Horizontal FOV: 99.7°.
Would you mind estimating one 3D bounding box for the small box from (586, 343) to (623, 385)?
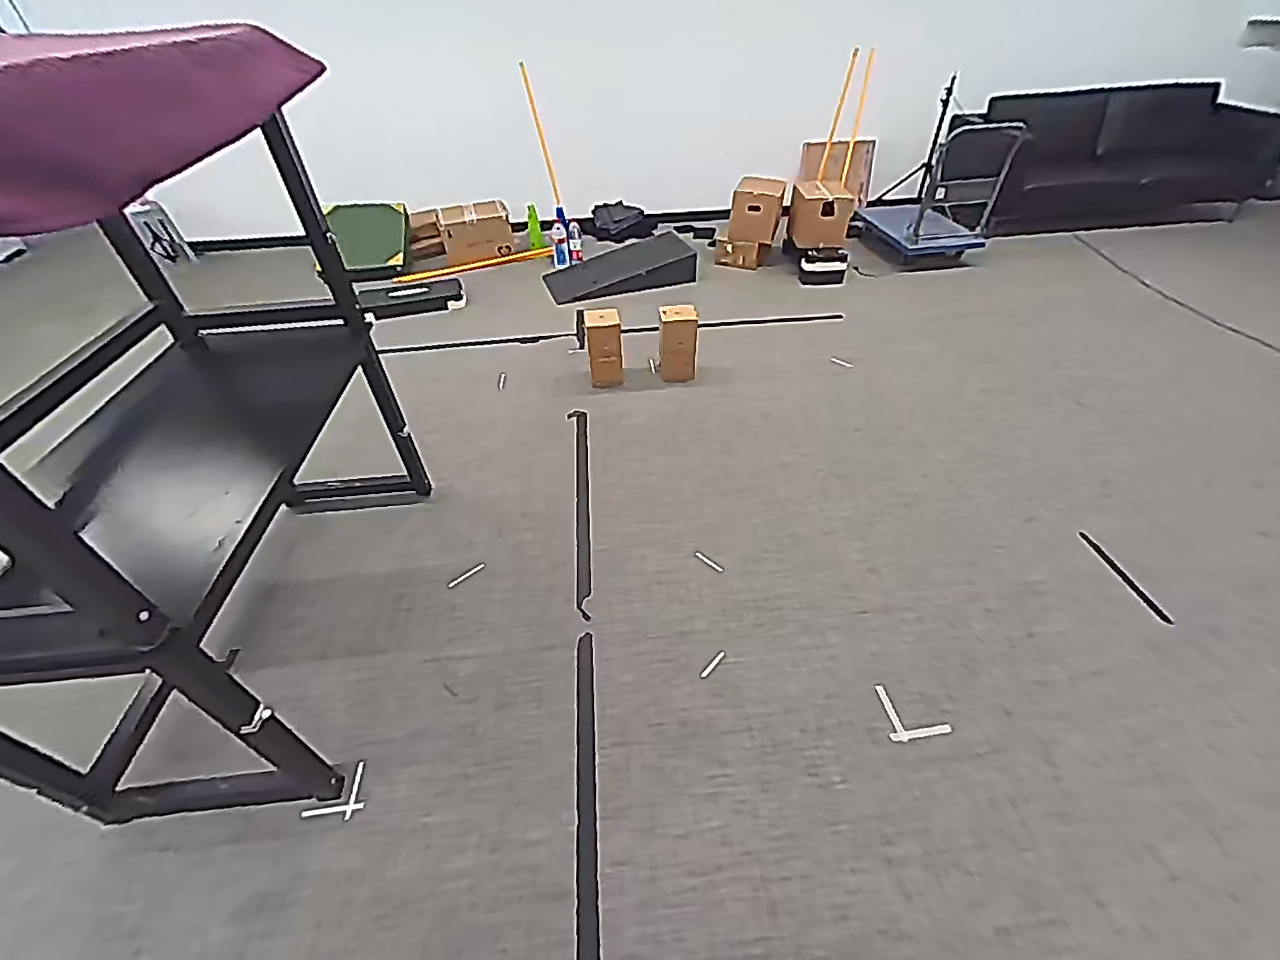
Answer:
[{"bbox_3d":[-0.182,-0.600,2.788,0.168,0.176,0.179,-8,42,-7],"label":"small box"}]

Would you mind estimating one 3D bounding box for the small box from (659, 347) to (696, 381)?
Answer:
[{"bbox_3d":[0.192,-0.629,2.814,0.179,0.176,0.168,-3,42,-1],"label":"small box"}]

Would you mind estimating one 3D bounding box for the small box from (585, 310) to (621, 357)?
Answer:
[{"bbox_3d":[-0.184,-0.728,2.684,0.168,0.176,0.179,-7,43,-6],"label":"small box"}]

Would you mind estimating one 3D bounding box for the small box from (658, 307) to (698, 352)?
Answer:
[{"bbox_3d":[0.188,-0.752,2.706,0.179,0.176,0.168,-3,41,-3],"label":"small box"}]
